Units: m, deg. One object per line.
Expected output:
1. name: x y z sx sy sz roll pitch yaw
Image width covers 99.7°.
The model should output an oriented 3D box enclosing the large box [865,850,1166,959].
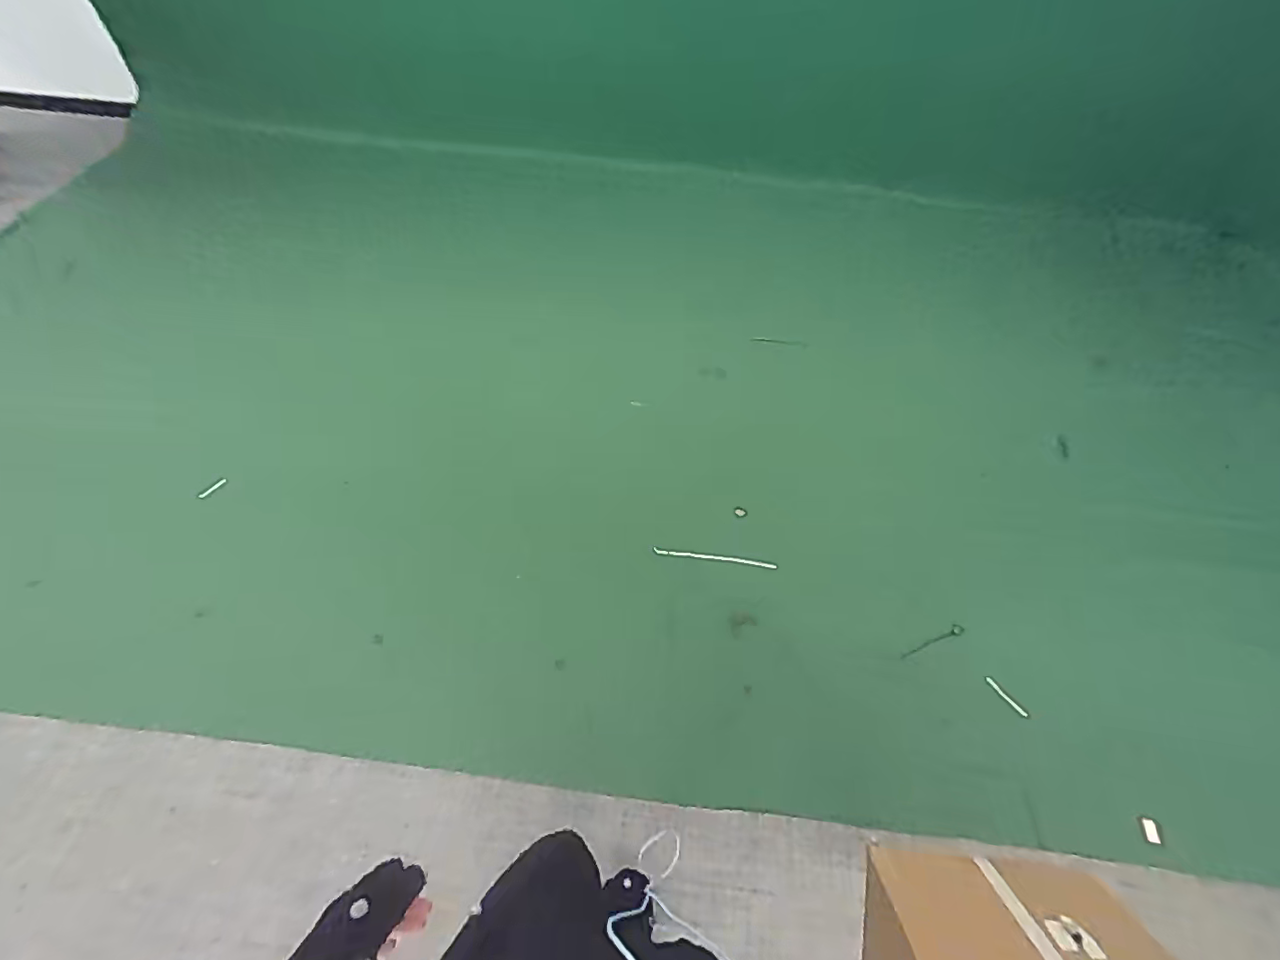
1. large box: 0.466 0.716 0.604 0.320 0.408 0.320 4 90 7
